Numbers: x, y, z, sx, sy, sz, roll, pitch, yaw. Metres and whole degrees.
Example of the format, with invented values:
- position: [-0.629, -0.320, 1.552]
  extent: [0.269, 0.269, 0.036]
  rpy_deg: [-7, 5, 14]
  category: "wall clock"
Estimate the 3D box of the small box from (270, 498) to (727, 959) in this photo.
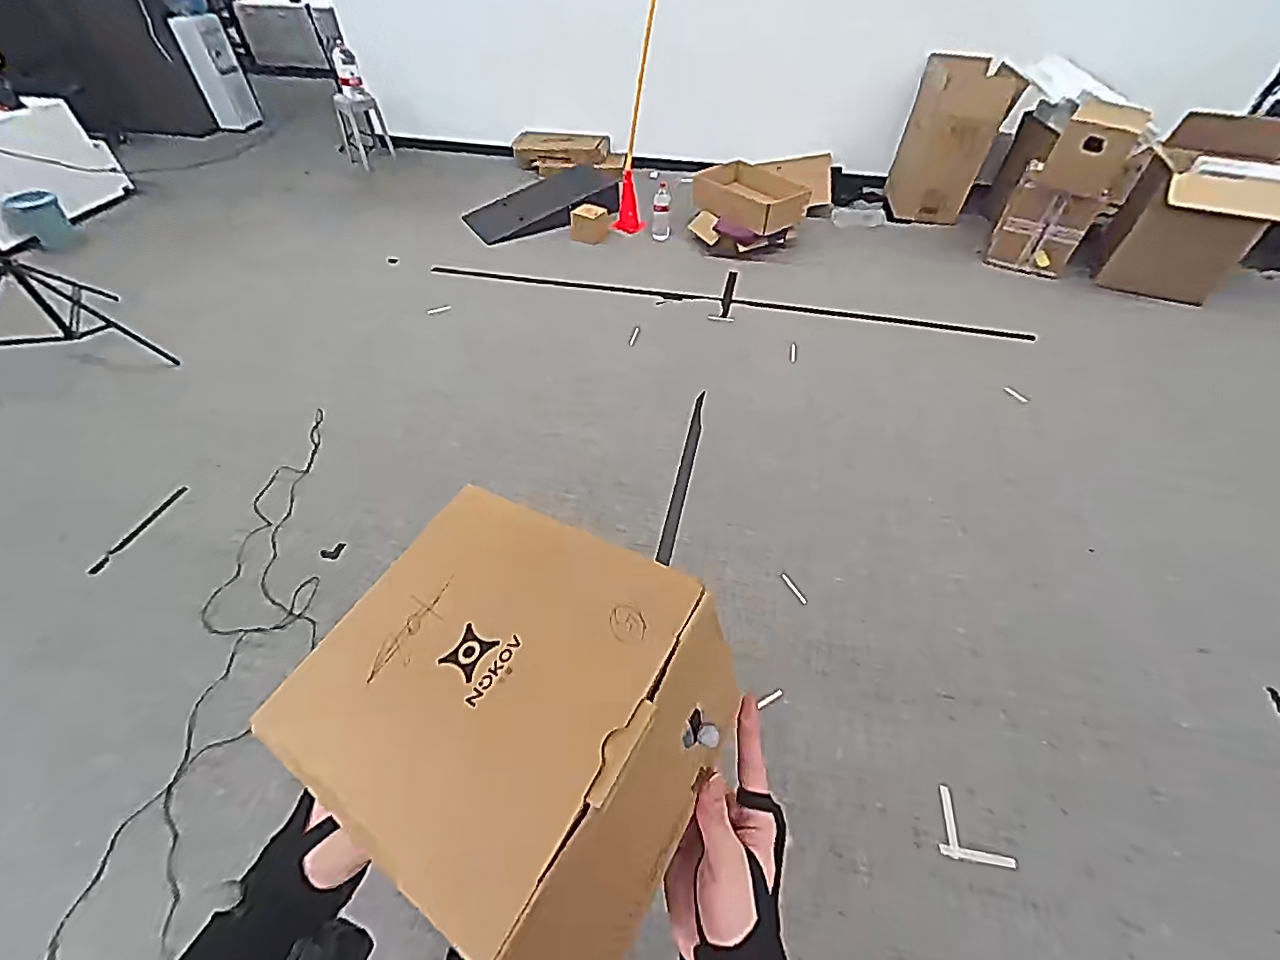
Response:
- position: [-0.061, 0.144, 0.331]
  extent: [0.179, 0.176, 0.168]
  rpy_deg: [18, 57, 30]
  category: "small box"
